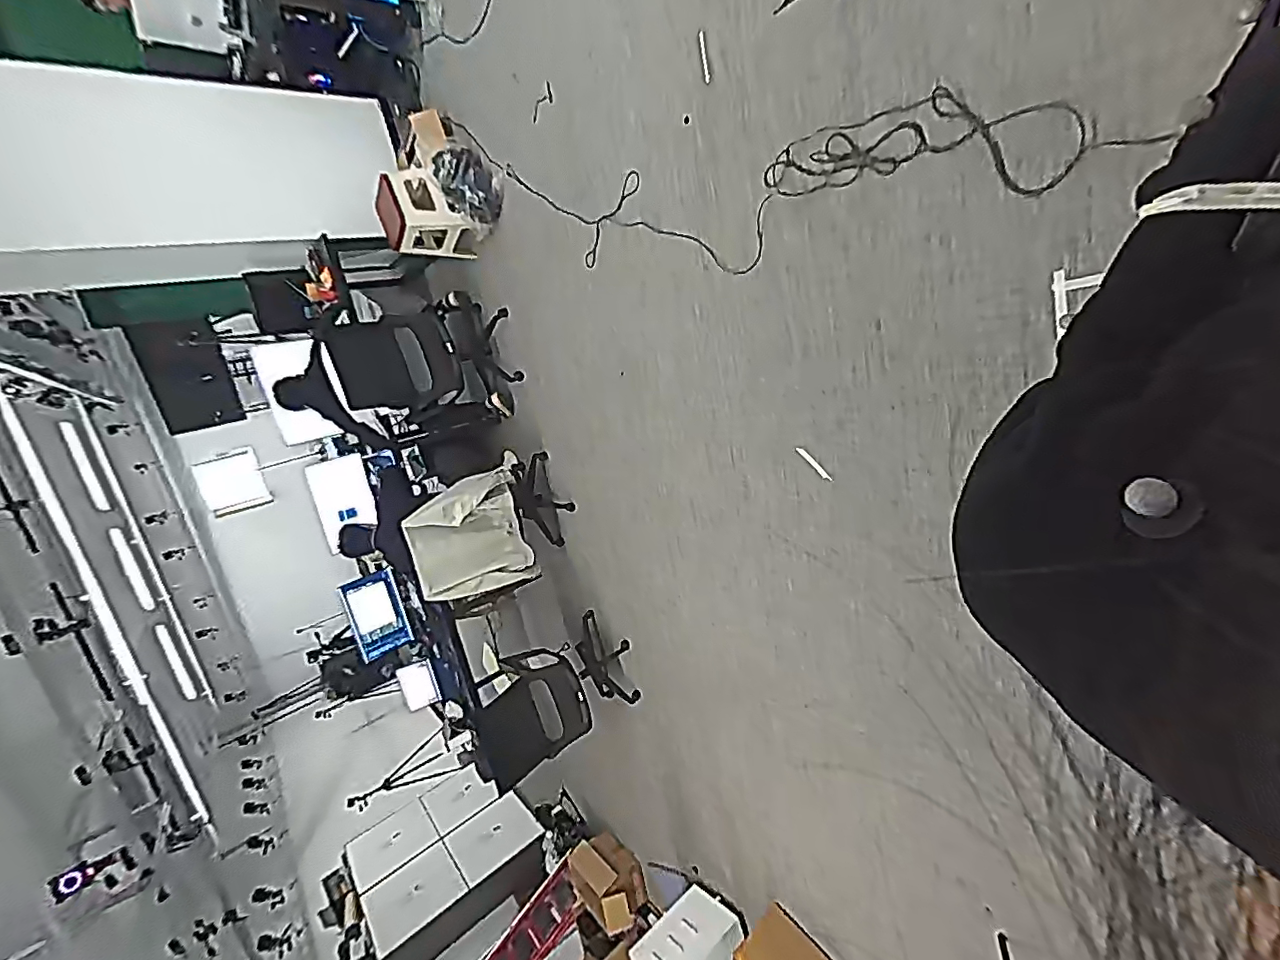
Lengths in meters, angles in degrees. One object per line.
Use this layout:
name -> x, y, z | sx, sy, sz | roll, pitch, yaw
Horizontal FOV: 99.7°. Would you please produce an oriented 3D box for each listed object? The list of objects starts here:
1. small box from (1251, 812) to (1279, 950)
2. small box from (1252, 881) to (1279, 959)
small box -> 0.944, 0.558, 0.703 | 0.168, 0.176, 0.179 | 15, 118, 47
small box -> 0.822, 0.616, 0.610 | 0.168, 0.176, 0.179 | 12, 116, 48
